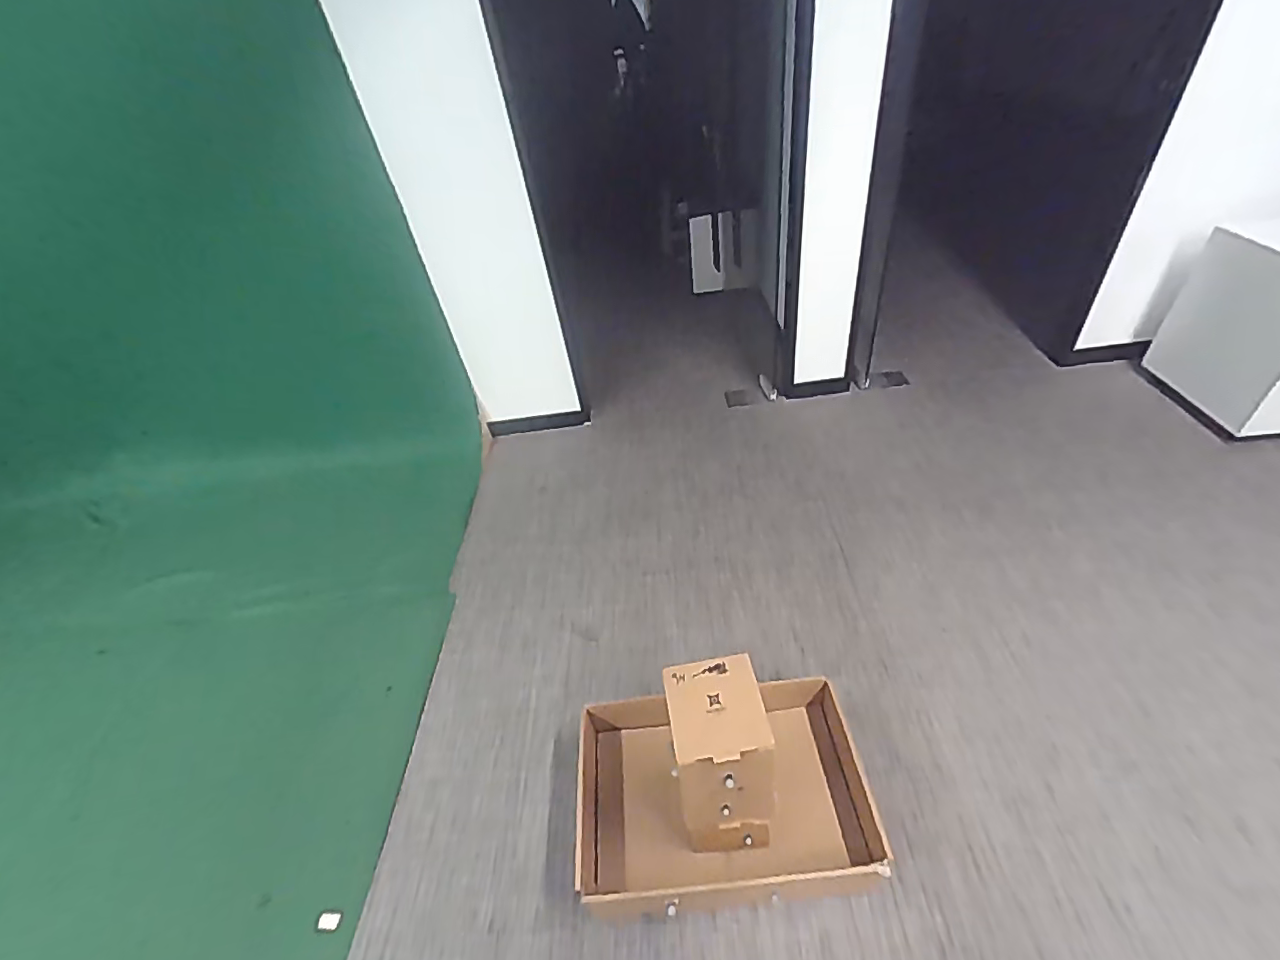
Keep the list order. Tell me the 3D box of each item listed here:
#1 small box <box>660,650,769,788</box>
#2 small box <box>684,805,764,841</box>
[{"bbox_3d":[0.137,0.447,1.000,0.168,0.176,0.179,-10,42,1],"label":"small box"},{"bbox_3d":[0.182,0.689,1.215,0.168,0.176,0.179,-7,40,3],"label":"small box"}]
